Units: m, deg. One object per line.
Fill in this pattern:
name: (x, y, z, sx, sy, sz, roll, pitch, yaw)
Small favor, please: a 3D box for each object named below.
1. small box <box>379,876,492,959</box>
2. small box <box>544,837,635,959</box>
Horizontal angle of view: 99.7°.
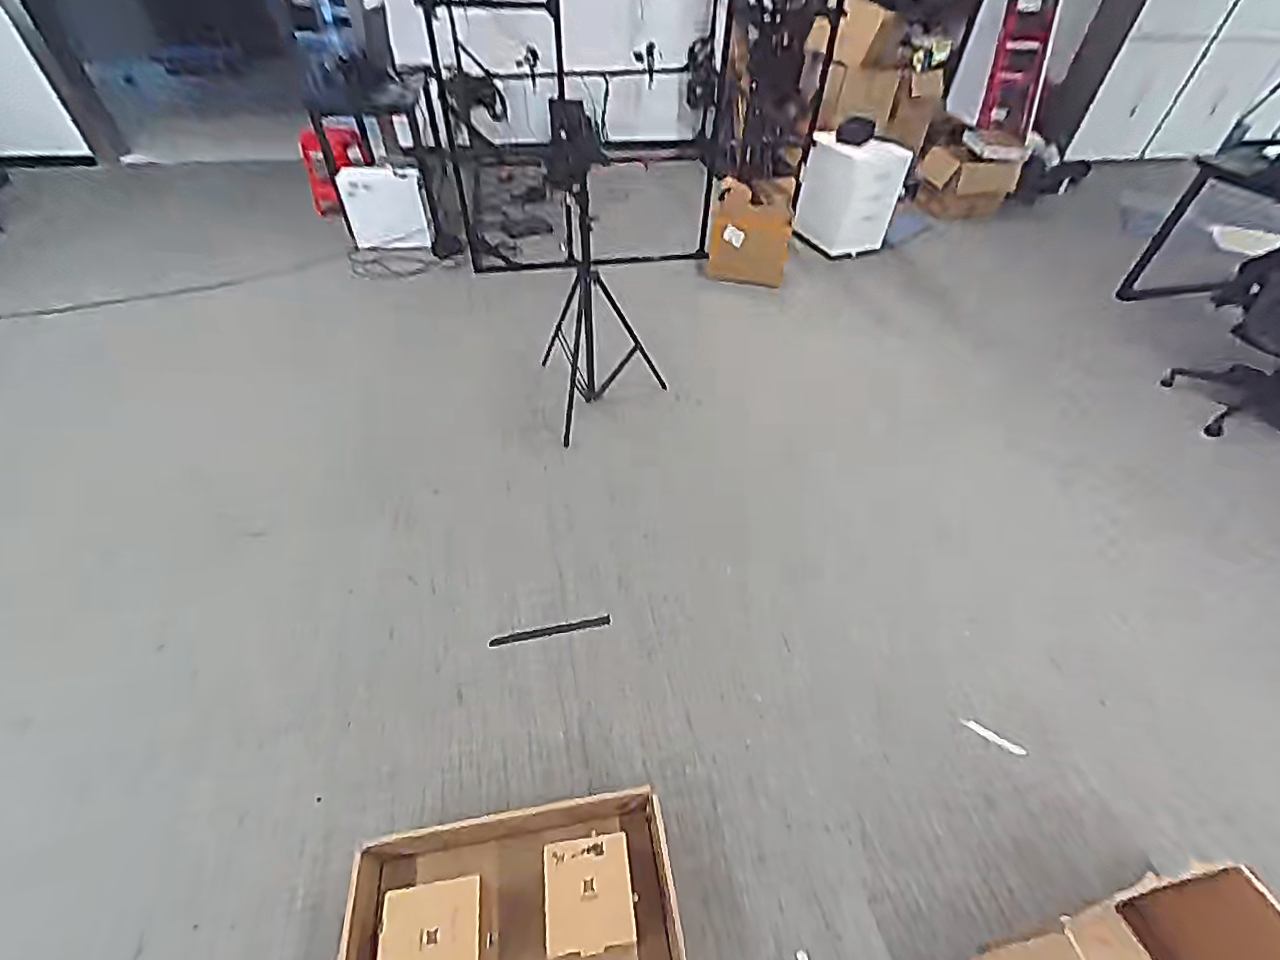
small box: (-0.383, 0.884, 1.032, 0.179, 0.176, 0.168, -5, 48, -11)
small box: (-0.101, 0.843, 1.083, 0.168, 0.176, 0.179, -5, 48, -7)
